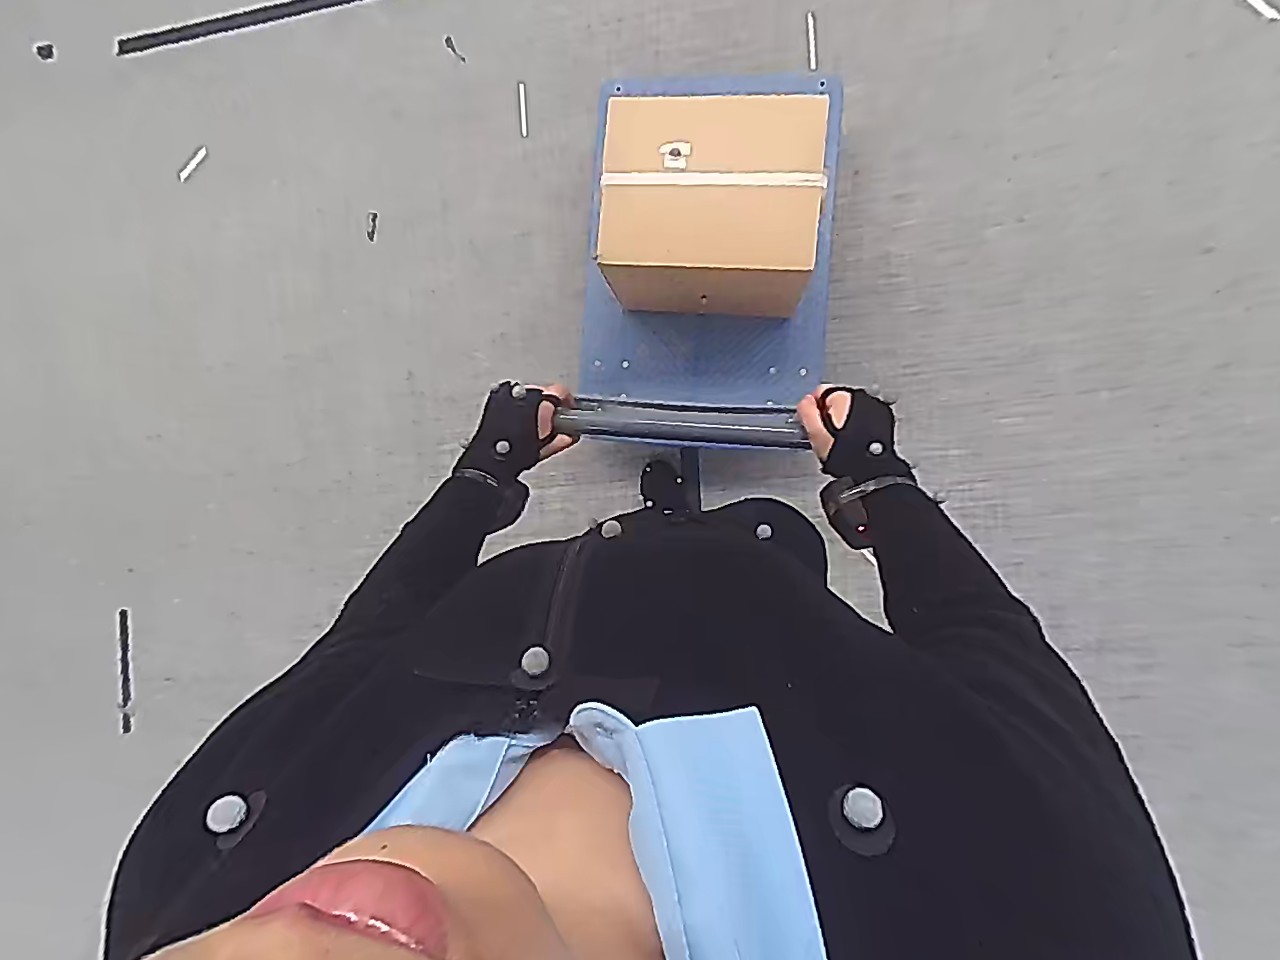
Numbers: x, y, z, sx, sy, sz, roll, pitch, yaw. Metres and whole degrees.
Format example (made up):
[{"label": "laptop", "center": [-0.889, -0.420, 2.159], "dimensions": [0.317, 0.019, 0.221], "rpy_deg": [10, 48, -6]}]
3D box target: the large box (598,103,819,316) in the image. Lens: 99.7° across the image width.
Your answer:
[{"label": "large box", "center": [0.148, -0.549, 1.163], "dimensions": [0.408, 0.320, 0.320], "rpy_deg": [5, 91, 9]}]
